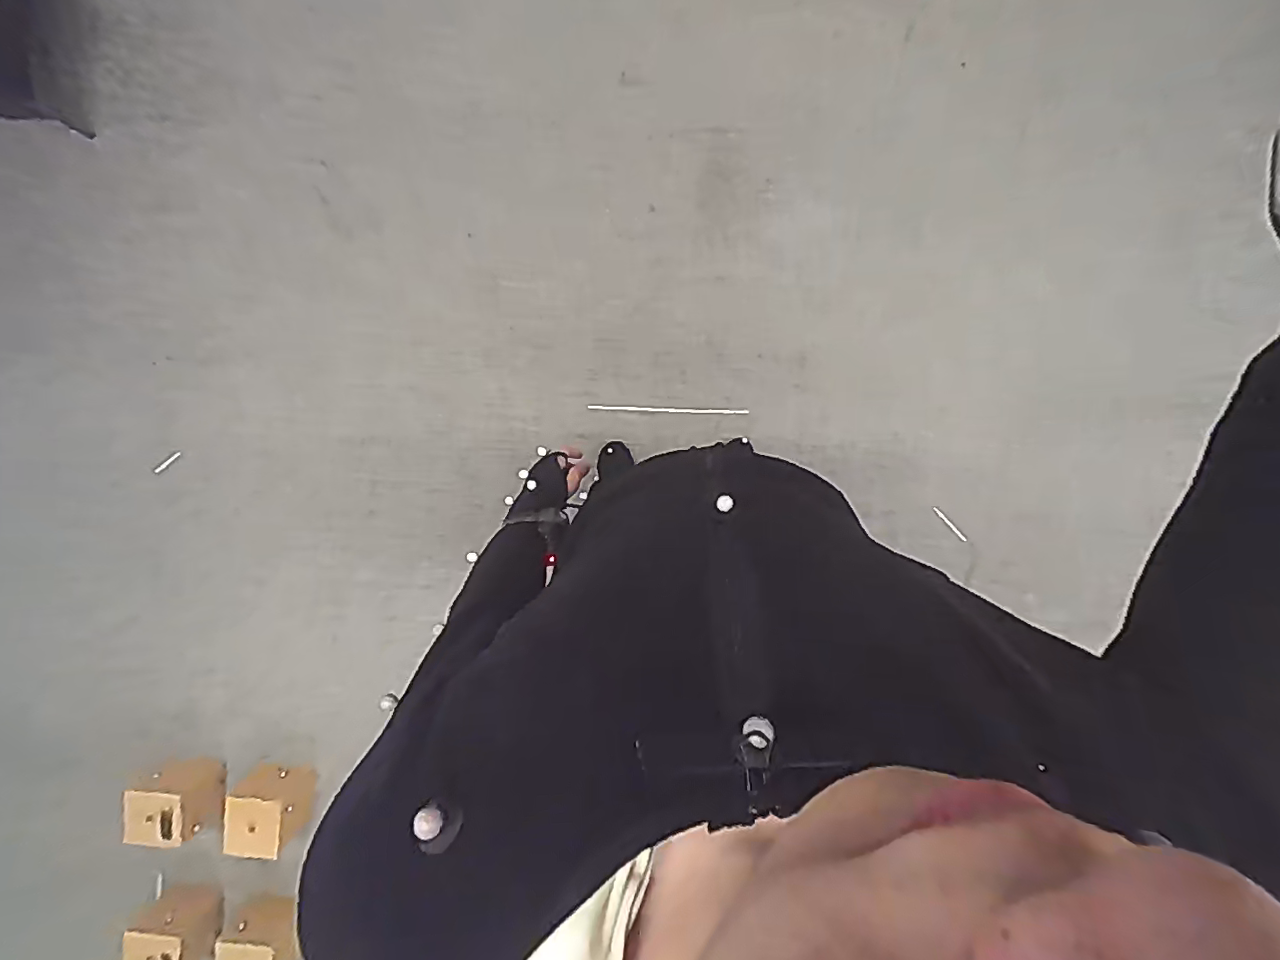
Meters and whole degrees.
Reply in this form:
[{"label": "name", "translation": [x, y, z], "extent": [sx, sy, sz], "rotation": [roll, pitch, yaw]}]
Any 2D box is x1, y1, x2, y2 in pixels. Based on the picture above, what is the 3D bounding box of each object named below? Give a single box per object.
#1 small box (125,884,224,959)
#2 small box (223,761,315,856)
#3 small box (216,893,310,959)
[{"label": "small box", "translation": [-1.440, 1.403, 1.681], "extent": [0.179, 0.176, 0.168], "rotation": [5, 93, 2]}, {"label": "small box", "translation": [-1.122, 0.993, 1.646], "extent": [0.168, 0.176, 0.179], "rotation": [5, 93, 2]}, {"label": "small box", "translation": [-1.164, 1.425, 1.671], "extent": [0.179, 0.176, 0.168], "rotation": [4, 94, 2]}]
